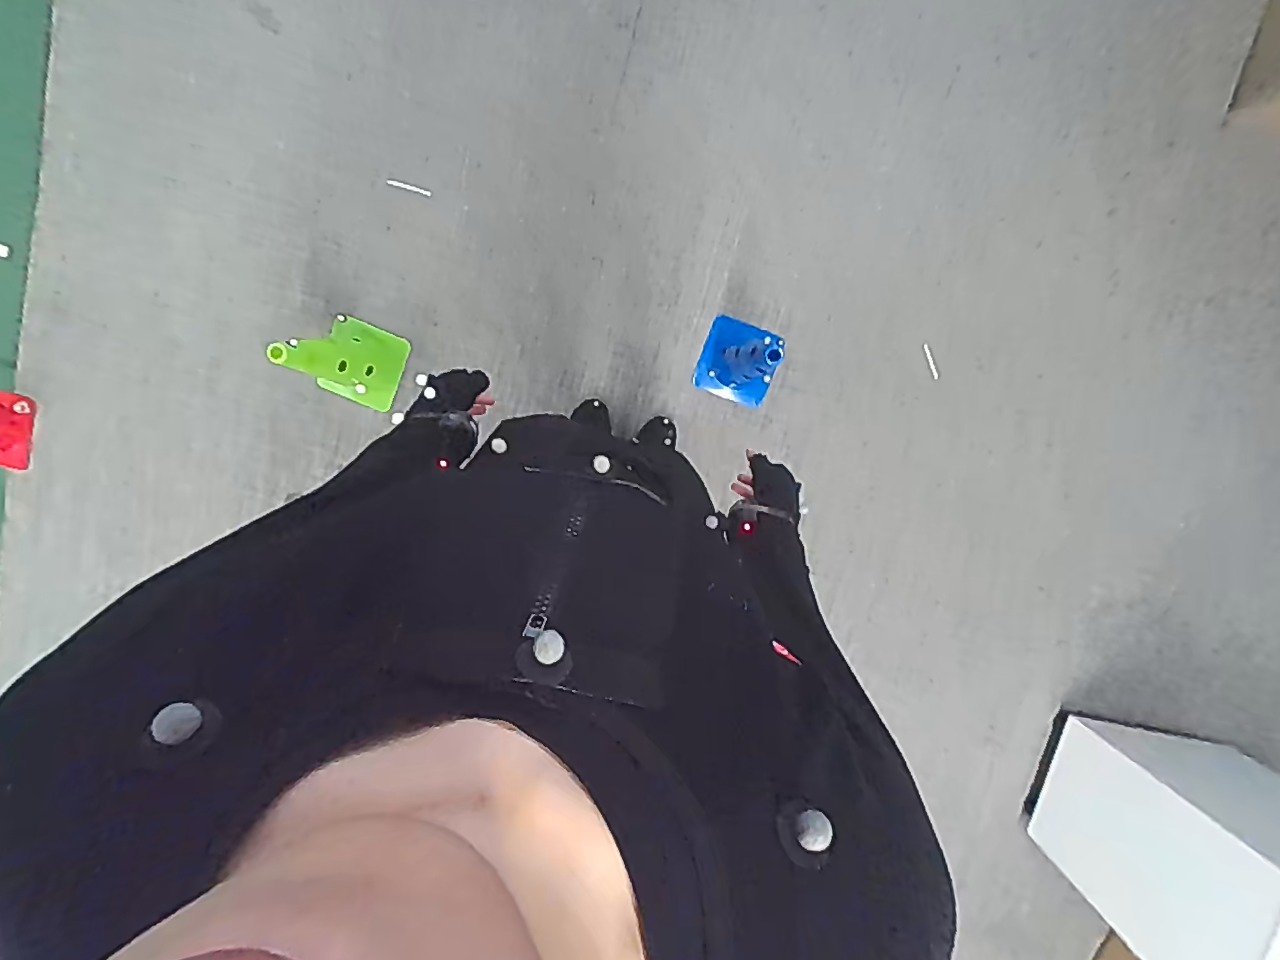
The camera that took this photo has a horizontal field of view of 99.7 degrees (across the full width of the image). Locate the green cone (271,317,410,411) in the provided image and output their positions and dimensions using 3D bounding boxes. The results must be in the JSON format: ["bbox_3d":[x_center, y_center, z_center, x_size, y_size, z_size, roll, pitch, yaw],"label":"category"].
[{"bbox_3d":[-0.714,-0.276,1.236,0.202,0.368,0.200,21,97,-4],"label":"green cone"}]
